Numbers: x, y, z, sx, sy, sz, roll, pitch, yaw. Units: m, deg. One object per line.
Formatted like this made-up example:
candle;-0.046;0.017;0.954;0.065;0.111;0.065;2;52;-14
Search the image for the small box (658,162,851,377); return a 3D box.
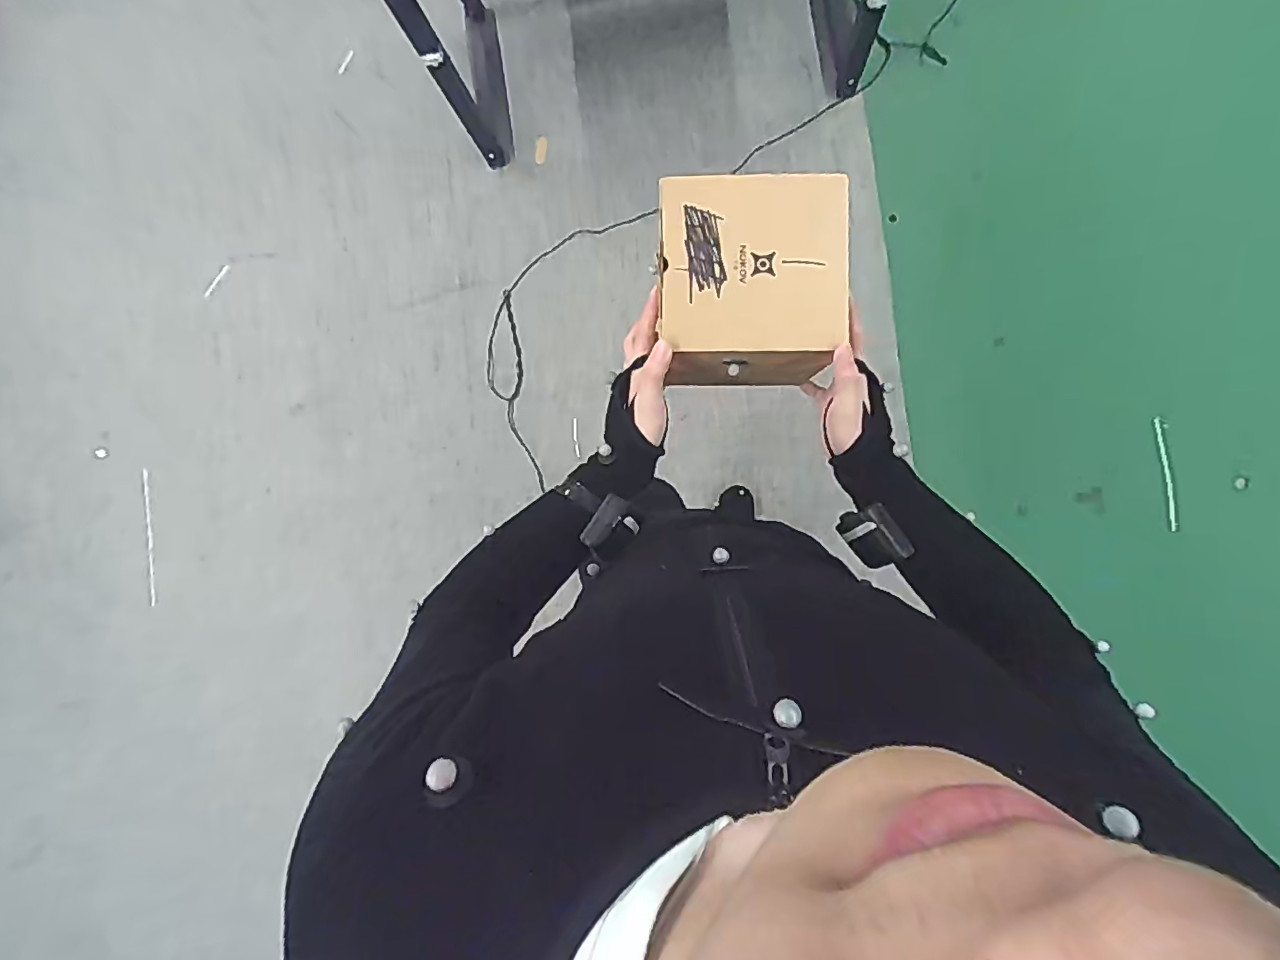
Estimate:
small box;0.109;-0.207;0.575;0.179;0.176;0.168;0;89;2
